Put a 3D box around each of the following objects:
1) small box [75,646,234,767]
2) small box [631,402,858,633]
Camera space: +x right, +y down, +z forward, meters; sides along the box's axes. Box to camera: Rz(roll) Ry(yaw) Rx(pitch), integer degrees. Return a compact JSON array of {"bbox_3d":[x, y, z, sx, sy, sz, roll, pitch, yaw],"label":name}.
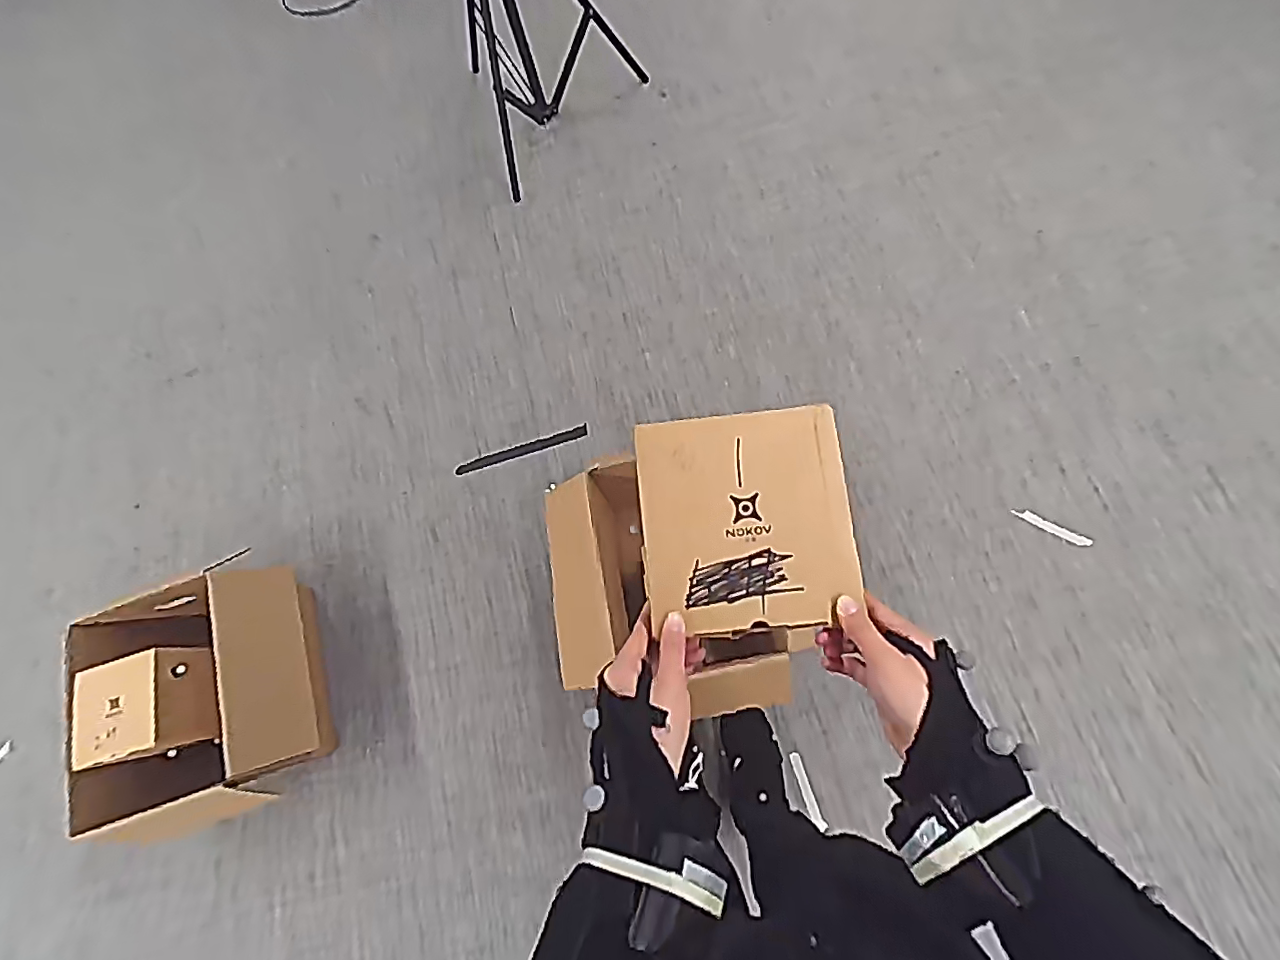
[{"bbox_3d":[-0.947,0.438,1.069,0.168,0.176,0.179,-18,72,3],"label":"small box"},{"bbox_3d":[0.085,0.042,0.510,0.168,0.176,0.179,-6,78,2],"label":"small box"}]
